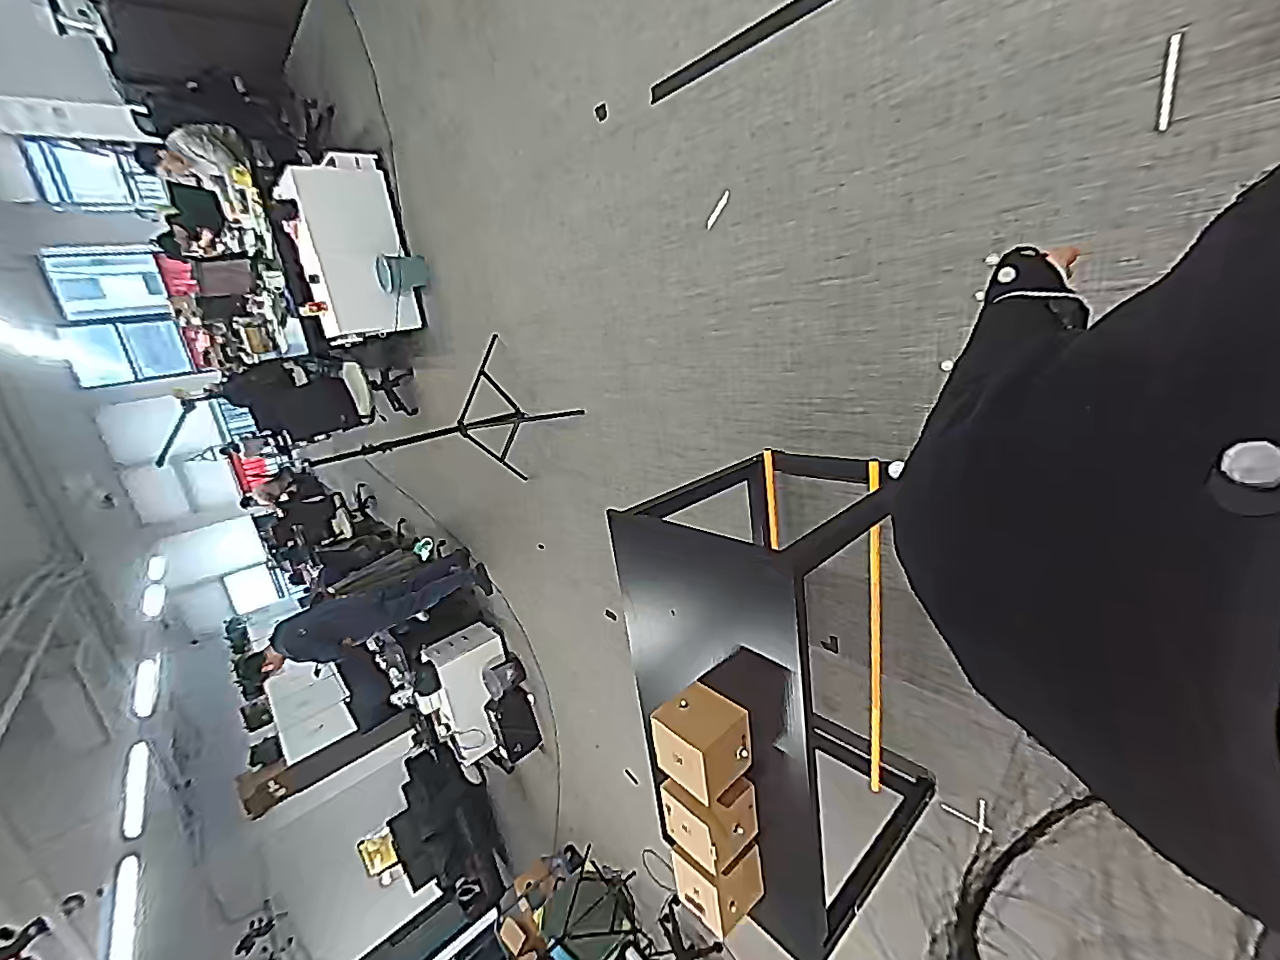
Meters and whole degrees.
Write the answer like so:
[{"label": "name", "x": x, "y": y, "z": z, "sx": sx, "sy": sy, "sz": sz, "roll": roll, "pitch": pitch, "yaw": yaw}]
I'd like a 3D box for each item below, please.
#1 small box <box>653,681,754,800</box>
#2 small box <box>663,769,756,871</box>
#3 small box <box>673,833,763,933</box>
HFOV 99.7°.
[{"label": "small box", "x": 0.157, "y": 0.625, "z": 1.329, "sx": 0.179, "sy": 0.176, "sz": 0.168, "roll": 13, "pitch": 118, "yaw": 48}, {"label": "small box", "x": 0.185, "y": 0.838, "z": 1.397, "sx": 0.179, "sy": 0.176, "sz": 0.168, "roll": 12, "pitch": 117, "yaw": 48}, {"label": "small box", "x": 0.215, "y": 1.042, "z": 1.459, "sx": 0.168, "sy": 0.176, "sz": 0.179, "roll": 9, "pitch": 113, "yaw": 49}]
